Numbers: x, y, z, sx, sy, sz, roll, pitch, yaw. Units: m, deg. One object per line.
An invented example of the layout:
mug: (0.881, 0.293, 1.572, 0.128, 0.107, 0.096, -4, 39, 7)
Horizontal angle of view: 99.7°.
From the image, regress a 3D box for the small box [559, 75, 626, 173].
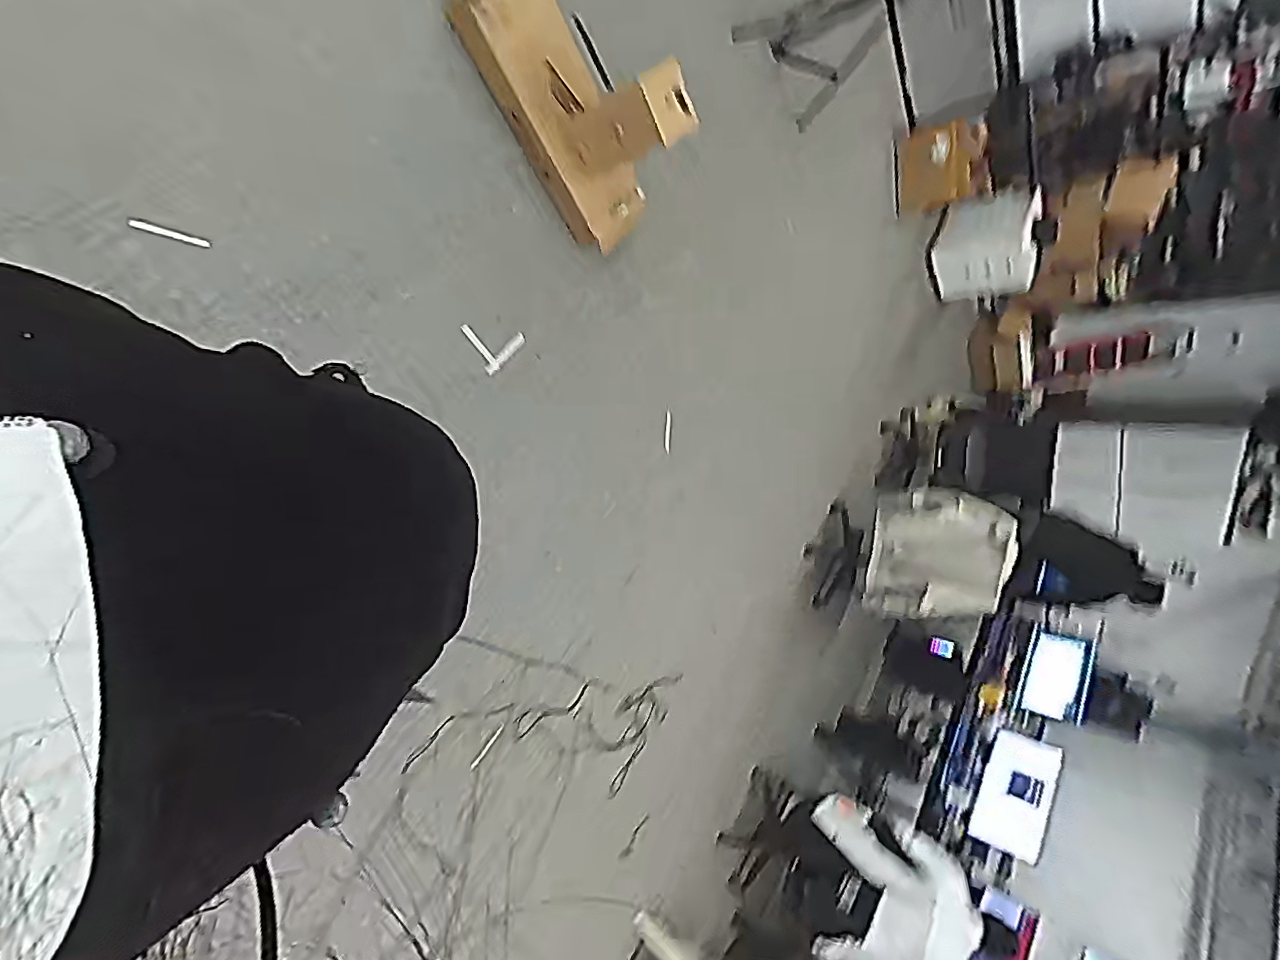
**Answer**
small box: (-0.111, -1.066, 1.629, 0.179, 0.176, 0.168, -55, 129, -25)

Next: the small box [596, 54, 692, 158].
small box: (0.010, -1.044, 1.520, 0.179, 0.176, 0.168, -51, 127, -27)
